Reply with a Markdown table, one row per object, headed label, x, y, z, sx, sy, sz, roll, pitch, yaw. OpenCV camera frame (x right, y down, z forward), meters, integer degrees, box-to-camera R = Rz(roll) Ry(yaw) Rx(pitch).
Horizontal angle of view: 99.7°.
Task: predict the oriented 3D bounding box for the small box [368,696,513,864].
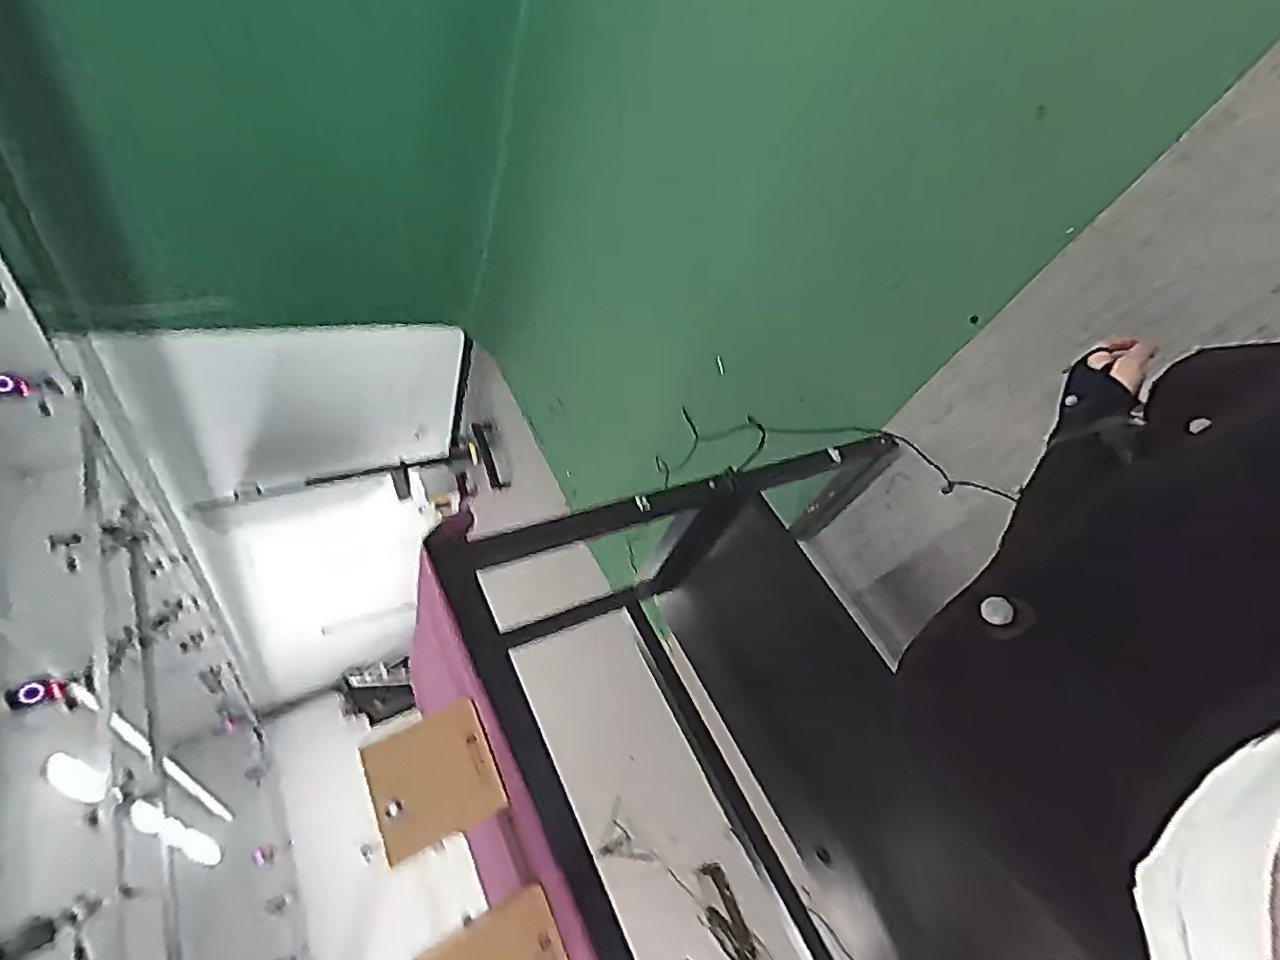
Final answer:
| label | x | y | z | sx | sy | sz | roll | pitch | yaw |
| --- | --- | --- | --- | --- | --- | --- | --- | --- | --- |
| small box | -0.314 | 0.471 | 0.855 | 0.168 | 0.176 | 0.179 | 58 | 145 | 23 |

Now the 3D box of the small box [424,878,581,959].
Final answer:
| label | x | y | z | sx | sy | sz | roll | pitch | yaw |
| --- | --- | --- | --- | --- | --- | --- | --- | --- | --- |
| small box | -0.180 | 0.677 | 0.733 | 0.168 | 0.176 | 0.179 | 59 | 143 | 24 |
